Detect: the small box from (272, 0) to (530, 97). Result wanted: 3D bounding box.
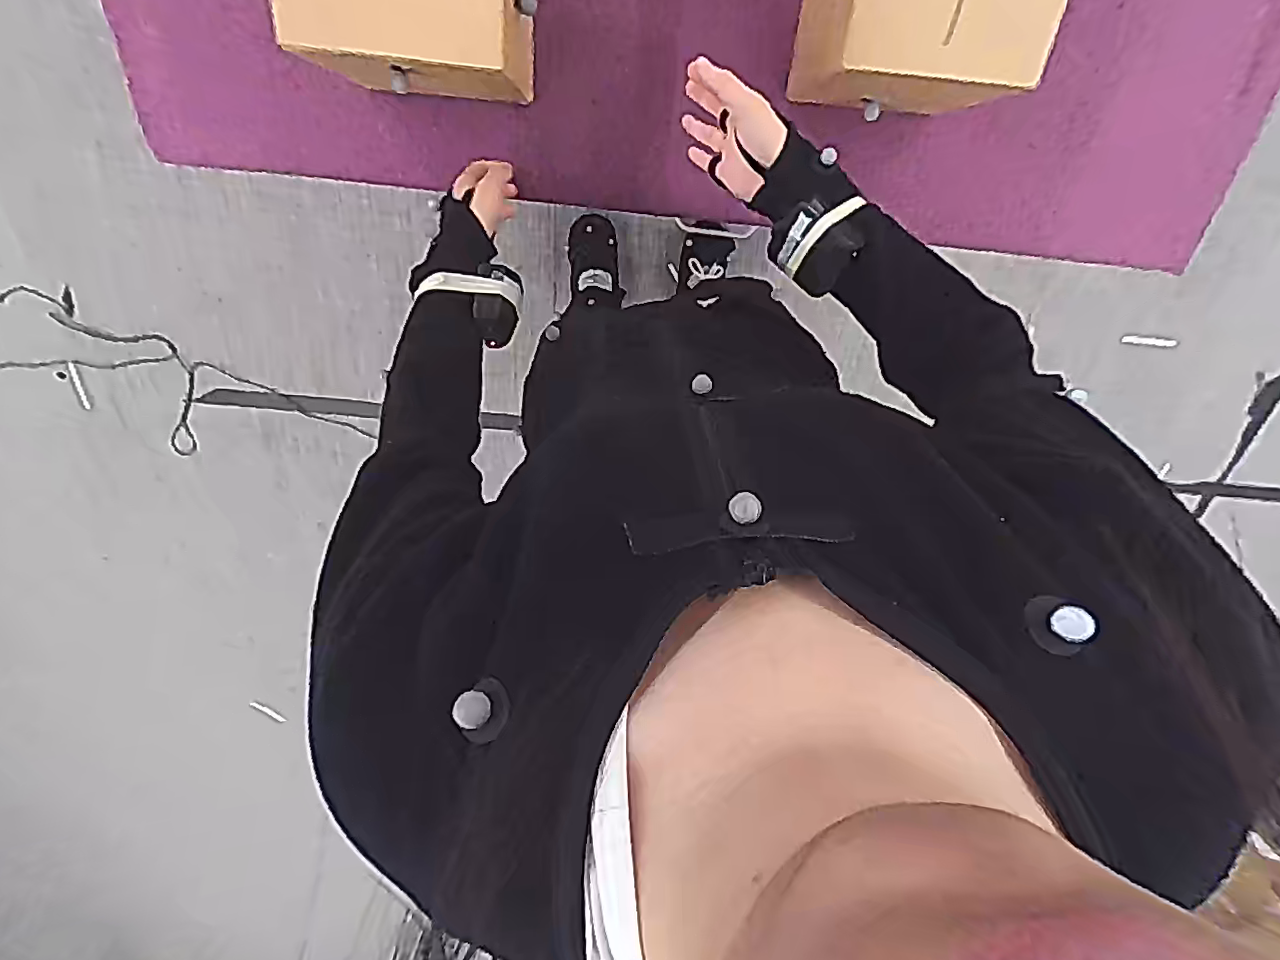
[{"bbox_3d":[-0.188,-0.441,0.458,0.179,0.176,0.168,4,118,-3],"label":"small box"}]

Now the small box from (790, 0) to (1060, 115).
[{"bbox_3d":[0.244,-0.439,0.469,0.168,0.176,0.179,4,118,-3],"label":"small box"}]
